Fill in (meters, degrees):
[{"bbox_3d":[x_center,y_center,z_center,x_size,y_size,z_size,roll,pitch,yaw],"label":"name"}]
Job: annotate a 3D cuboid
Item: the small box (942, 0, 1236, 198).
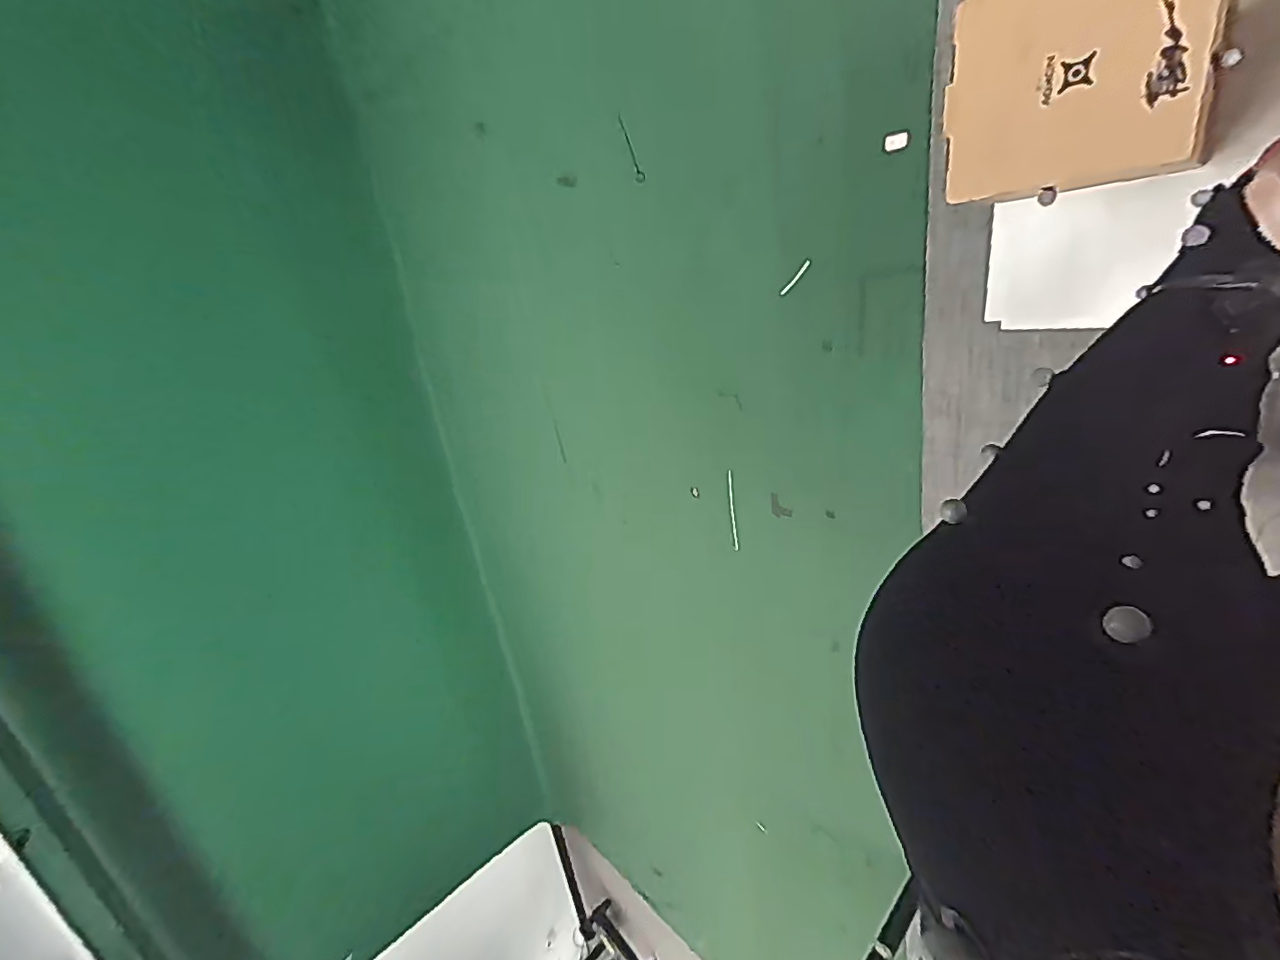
[{"bbox_3d":[0.408,-0.367,0.500,0.179,0.176,0.168,13,119,45],"label":"small box"}]
